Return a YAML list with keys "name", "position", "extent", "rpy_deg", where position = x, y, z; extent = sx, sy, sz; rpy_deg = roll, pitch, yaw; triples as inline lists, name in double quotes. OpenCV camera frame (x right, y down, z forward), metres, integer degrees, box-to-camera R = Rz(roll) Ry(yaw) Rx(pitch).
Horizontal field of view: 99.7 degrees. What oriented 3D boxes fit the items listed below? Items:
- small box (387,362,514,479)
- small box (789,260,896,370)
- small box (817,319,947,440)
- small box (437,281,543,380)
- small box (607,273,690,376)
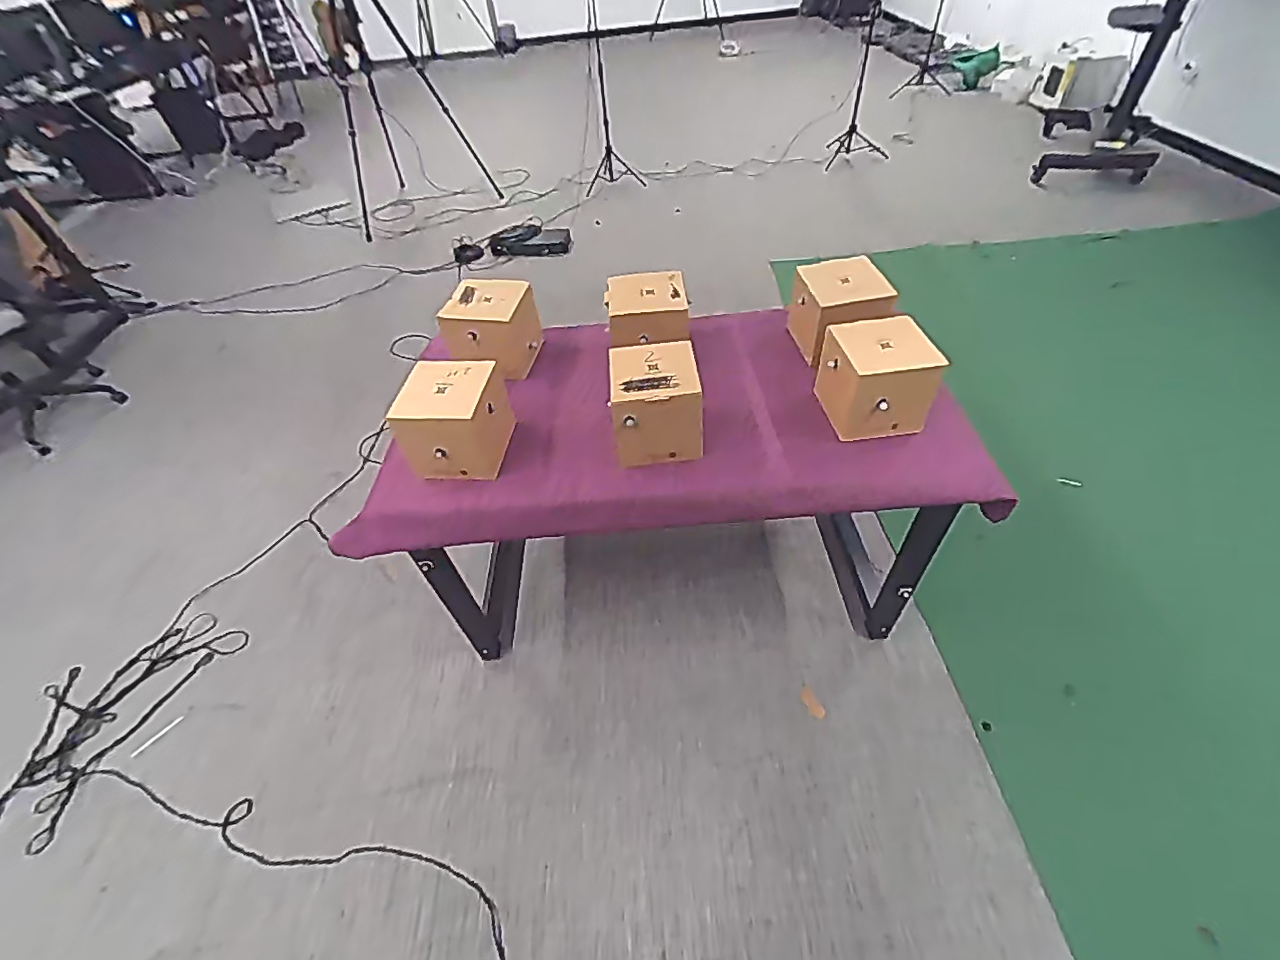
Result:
- name: "small box"
  position: [-0.365, -0.117, 1.083]
  extent: [0.168, 0.176, 0.179]
  rpy_deg: [2, 48, 6]
- name: "small box"
  position: [0.453, -0.377, 1.243]
  extent: [0.168, 0.176, 0.179]
  rpy_deg: [-9, 50, -1]
- name: "small box"
  position: [0.468, -0.193, 1.076]
  extent: [0.168, 0.176, 0.179]
  rpy_deg: [-7, 46, 0]
- name: "small box"
  position: [-0.349, -0.356, 1.295]
  extent: [0.179, 0.176, 0.168]
  rpy_deg: [6, 50, 9]
- name: "small box"
  position: [0.021, -0.359, 1.267]
  extent: [0.179, 0.176, 0.168]
  rpy_deg: [-5, 50, 2]
